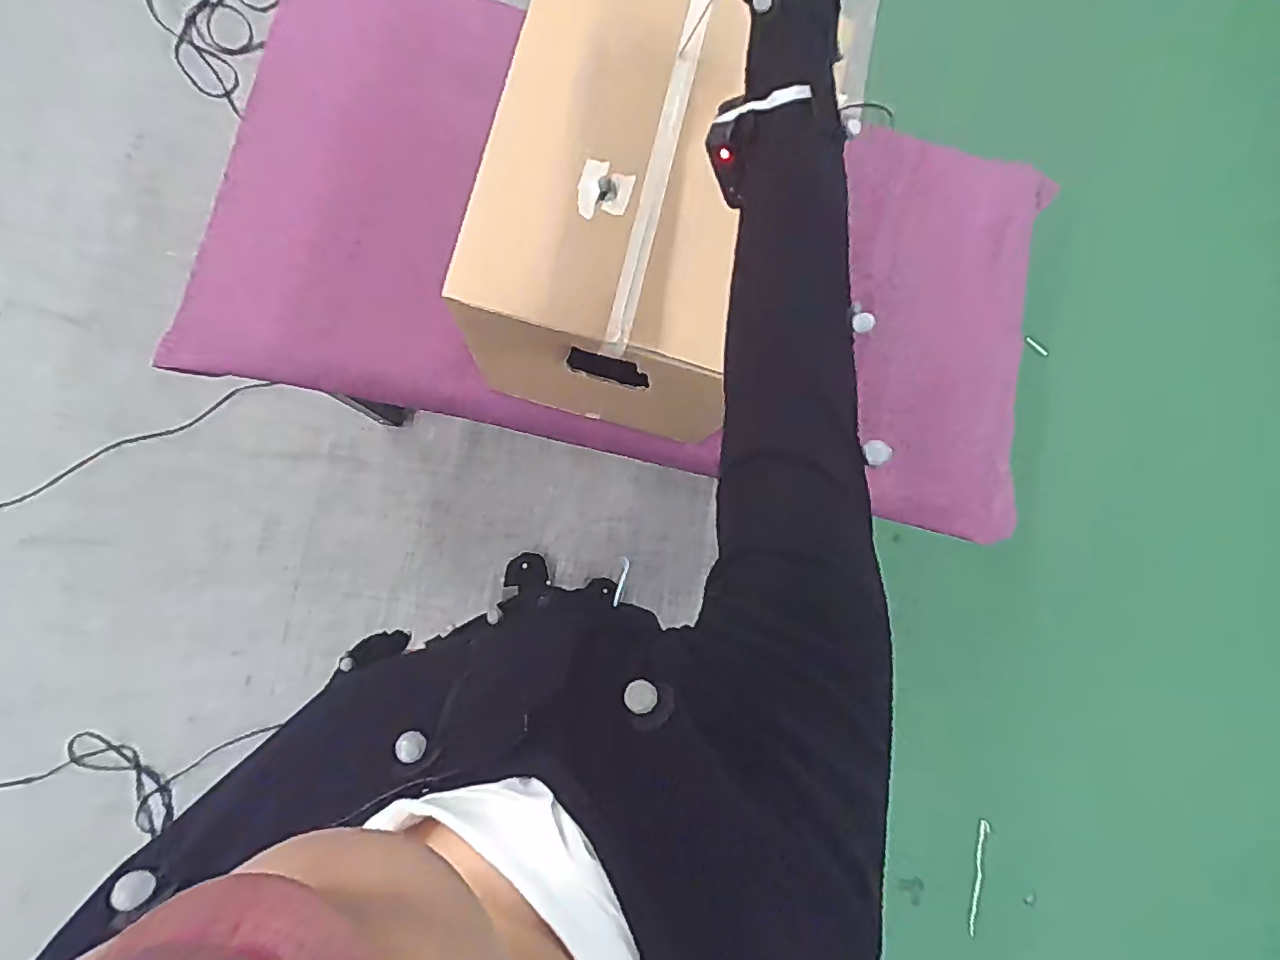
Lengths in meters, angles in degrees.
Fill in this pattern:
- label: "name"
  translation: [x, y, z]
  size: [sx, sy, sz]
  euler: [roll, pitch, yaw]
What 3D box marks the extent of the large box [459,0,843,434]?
- label: "large box"
  translation: [0.002, -0.307, 0.672]
  size: [0.320, 0.320, 0.408]
  euler: [15, 83, -7]
